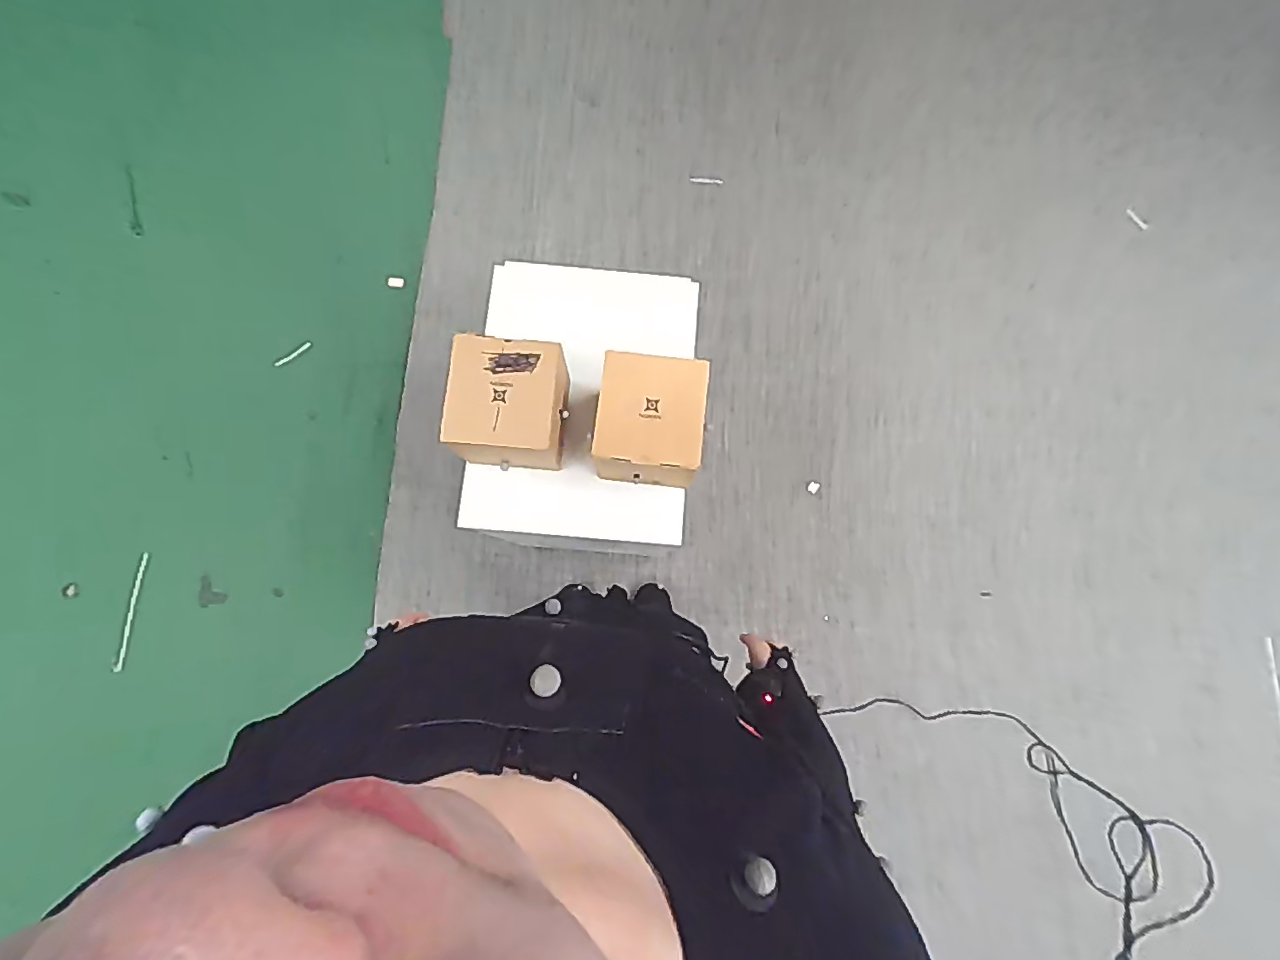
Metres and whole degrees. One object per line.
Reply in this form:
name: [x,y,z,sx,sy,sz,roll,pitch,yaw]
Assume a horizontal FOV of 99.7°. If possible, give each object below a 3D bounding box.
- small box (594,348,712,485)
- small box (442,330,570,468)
small box: [0.019,-0.098,0.903,0.168,0.176,0.179,7,80,1]
small box: [-0.211,-0.126,0.902,0.168,0.176,0.179,5,81,-1]
